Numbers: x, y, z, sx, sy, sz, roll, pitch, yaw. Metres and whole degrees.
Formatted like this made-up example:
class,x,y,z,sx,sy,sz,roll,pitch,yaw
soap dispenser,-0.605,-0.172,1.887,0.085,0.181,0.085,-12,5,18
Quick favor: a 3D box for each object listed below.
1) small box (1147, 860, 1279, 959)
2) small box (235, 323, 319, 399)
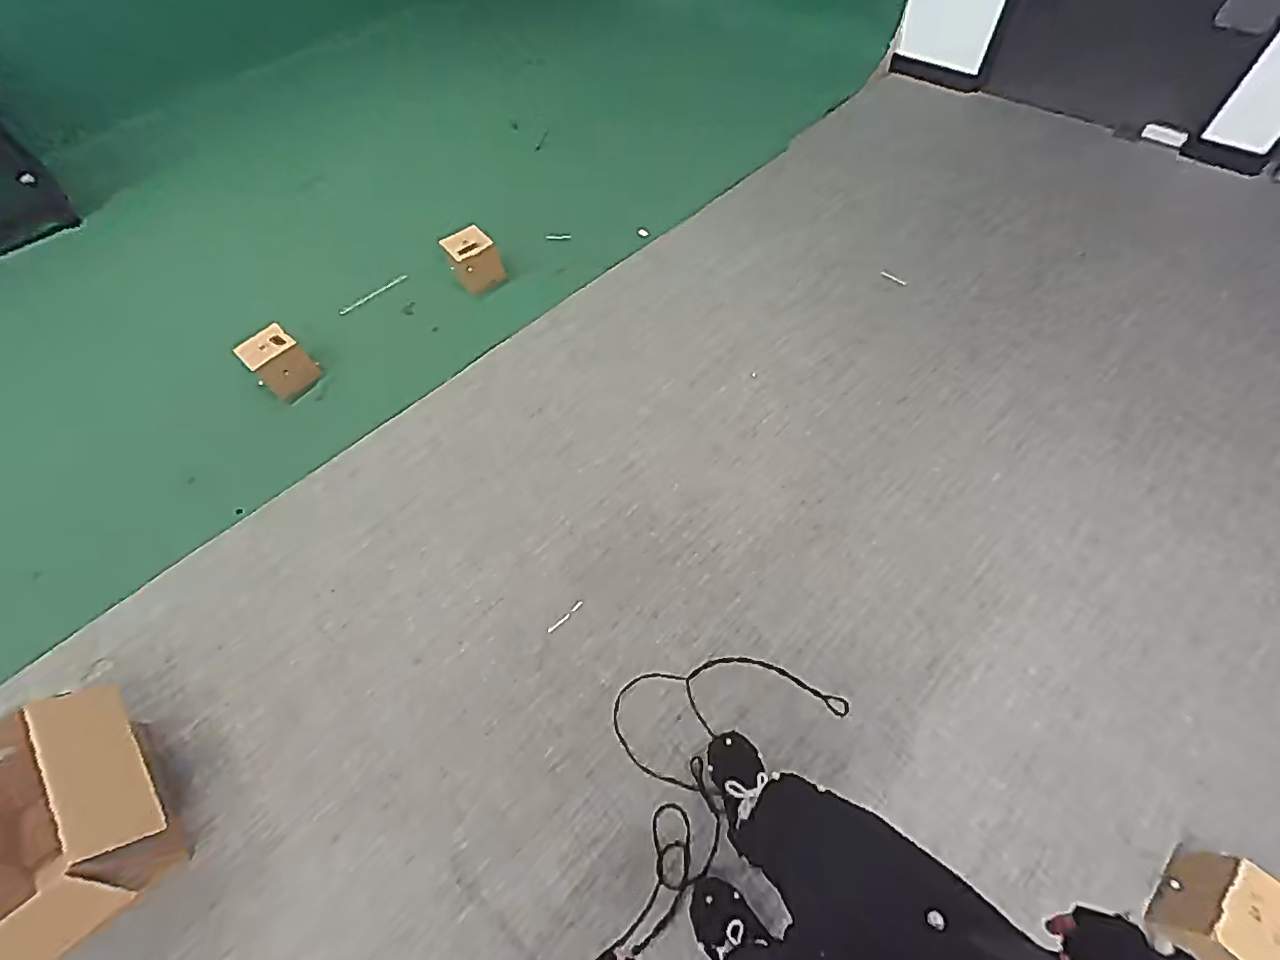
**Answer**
class,x,y,z,sx,sy,sz,roll,pitch,yaw
small box,1.105,0.833,0.986,0.179,0.176,0.168,39,69,25
small box,-1.321,-0.434,1.987,0.168,0.176,0.179,38,70,24
